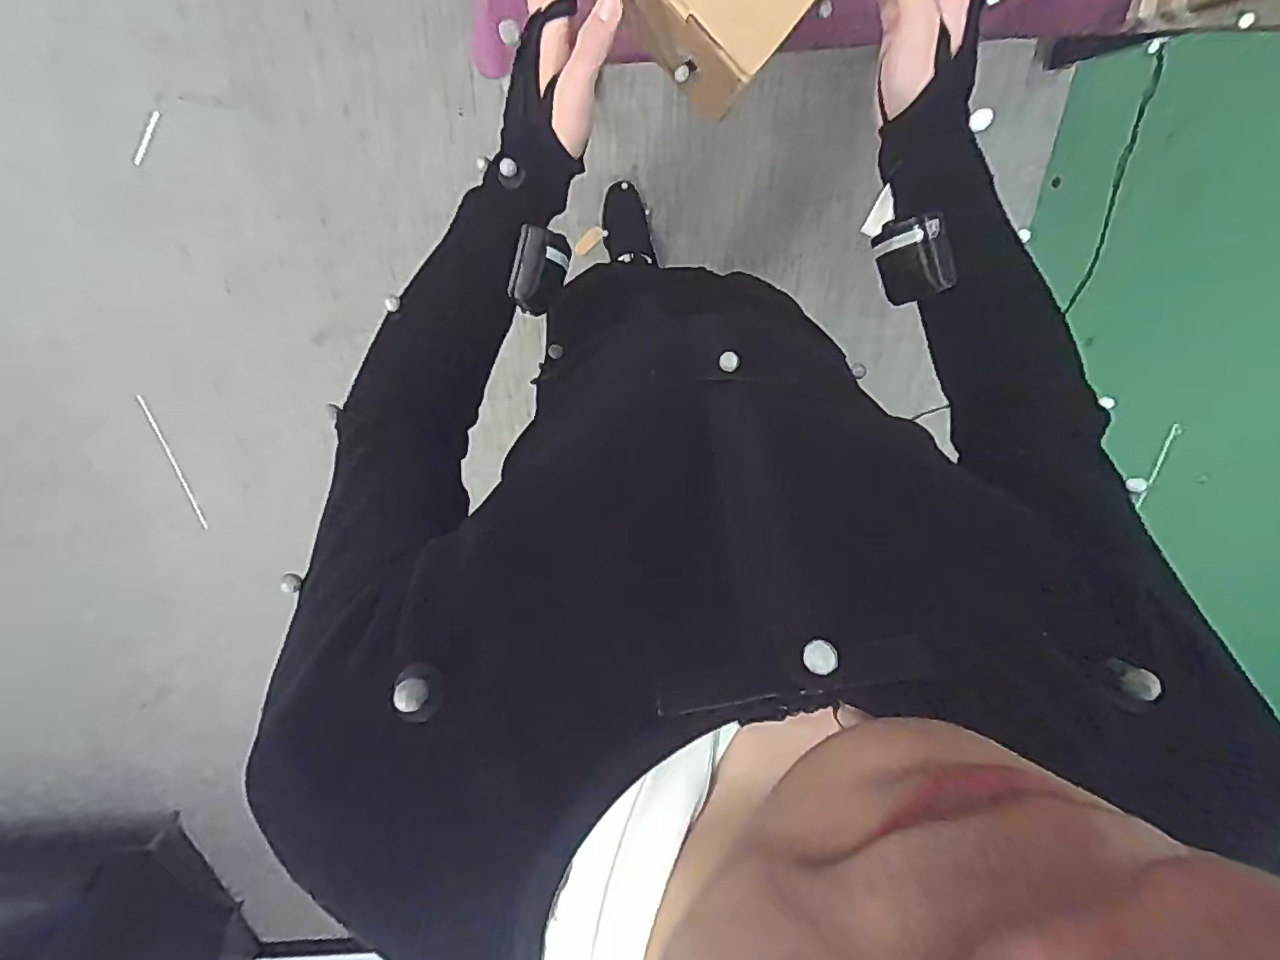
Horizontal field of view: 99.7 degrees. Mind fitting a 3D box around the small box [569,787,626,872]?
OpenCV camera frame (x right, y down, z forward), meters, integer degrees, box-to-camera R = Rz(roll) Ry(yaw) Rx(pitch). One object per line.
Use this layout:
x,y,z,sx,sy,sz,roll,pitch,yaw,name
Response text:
-0.134,1.087,1.689,0.168,0.176,0.179,2,118,-4,small box
